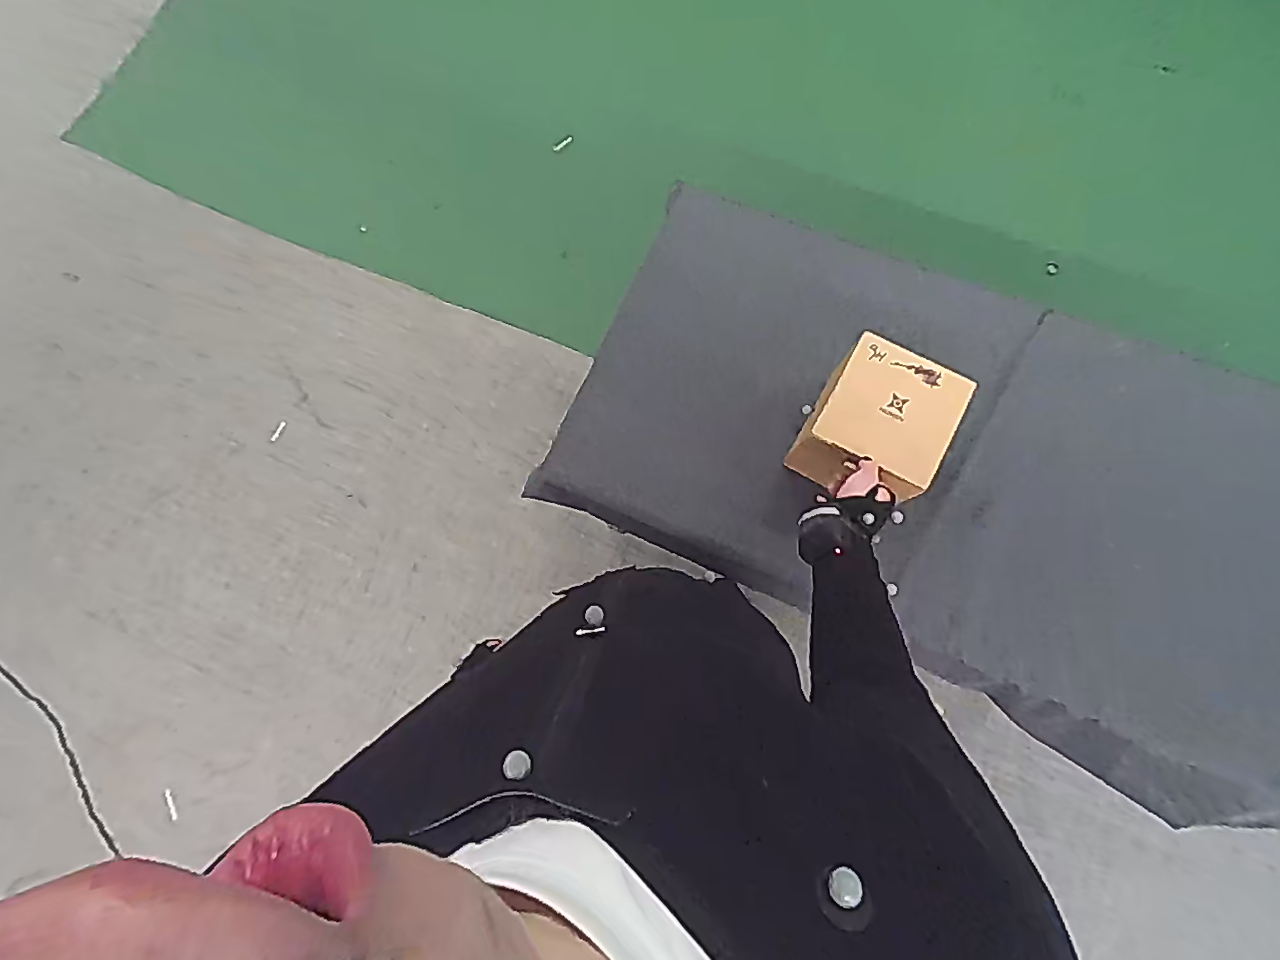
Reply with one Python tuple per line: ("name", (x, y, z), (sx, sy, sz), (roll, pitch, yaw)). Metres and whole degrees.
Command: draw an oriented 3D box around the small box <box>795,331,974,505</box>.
("small box", (0.347, -0.081, 0.805), (0.168, 0.176, 0.179), (26, 79, 10))
